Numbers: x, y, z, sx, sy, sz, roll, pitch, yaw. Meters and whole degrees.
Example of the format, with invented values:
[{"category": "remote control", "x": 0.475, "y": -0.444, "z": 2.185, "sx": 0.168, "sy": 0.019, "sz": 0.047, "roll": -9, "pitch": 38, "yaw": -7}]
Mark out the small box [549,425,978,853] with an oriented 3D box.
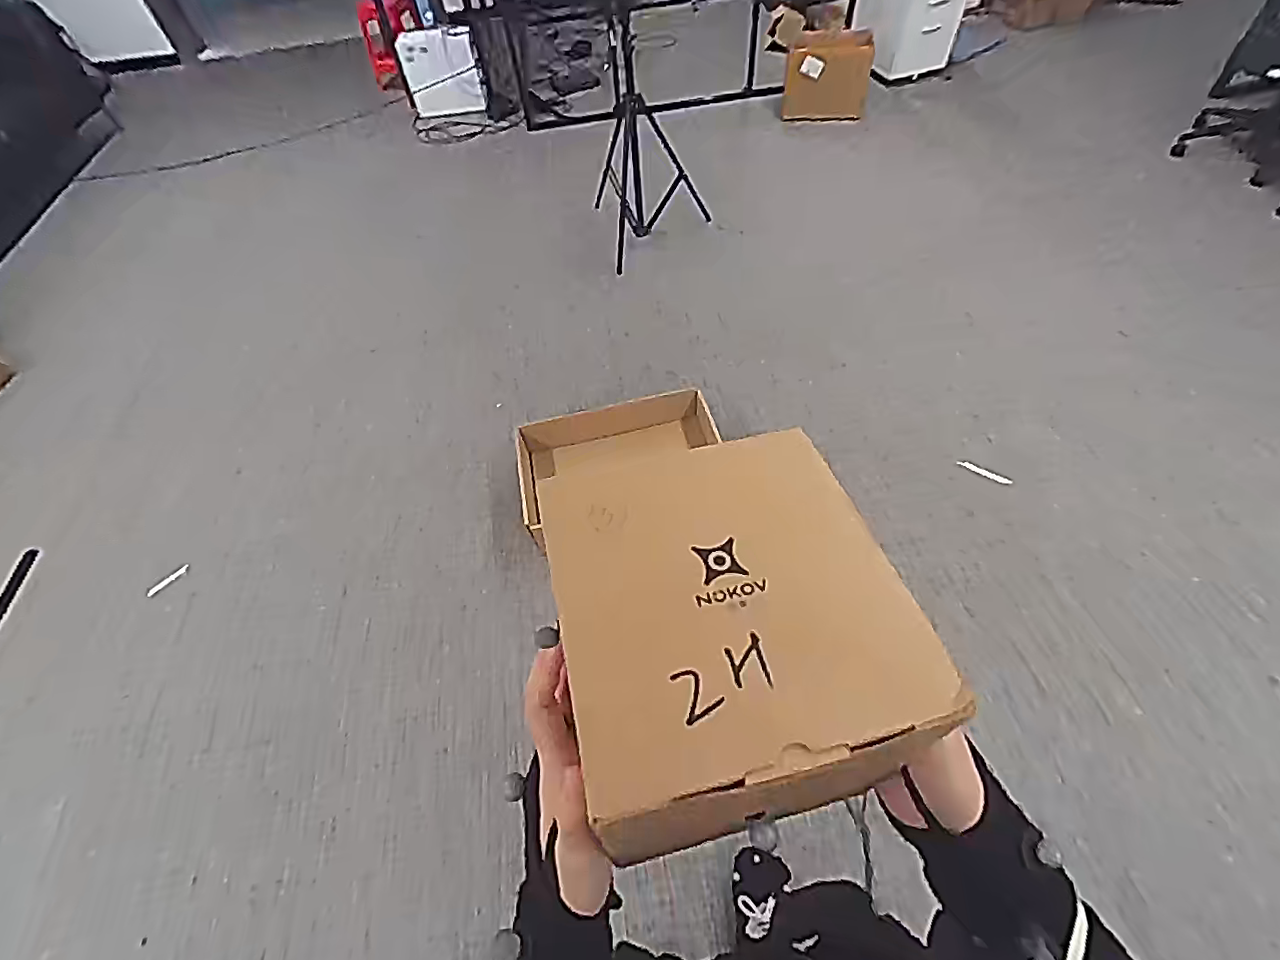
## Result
[{"category": "small box", "x": 0.045, "y": 0.096, "z": 0.329, "sx": 0.168, "sy": 0.176, "sz": 0.179, "roll": -12, "pitch": 51, "yaw": -8}]
